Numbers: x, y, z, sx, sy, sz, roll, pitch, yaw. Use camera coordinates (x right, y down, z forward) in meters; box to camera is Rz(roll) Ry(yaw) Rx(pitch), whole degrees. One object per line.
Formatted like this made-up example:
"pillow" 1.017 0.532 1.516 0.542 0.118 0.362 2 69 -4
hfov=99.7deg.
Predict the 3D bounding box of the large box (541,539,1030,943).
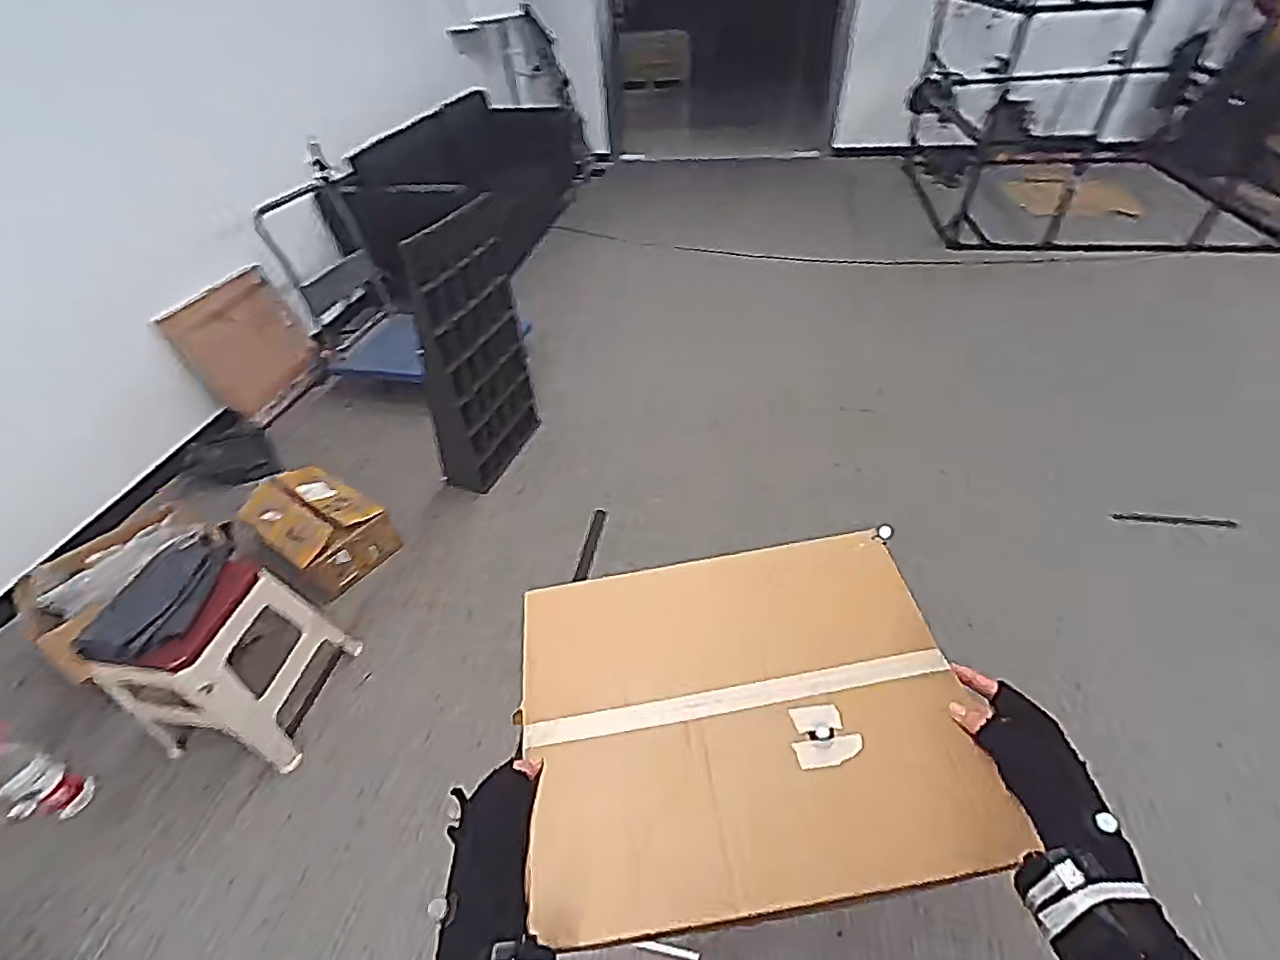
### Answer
"large box" 0.115 0.312 0.638 0.408 0.320 0.320 -9 50 0
